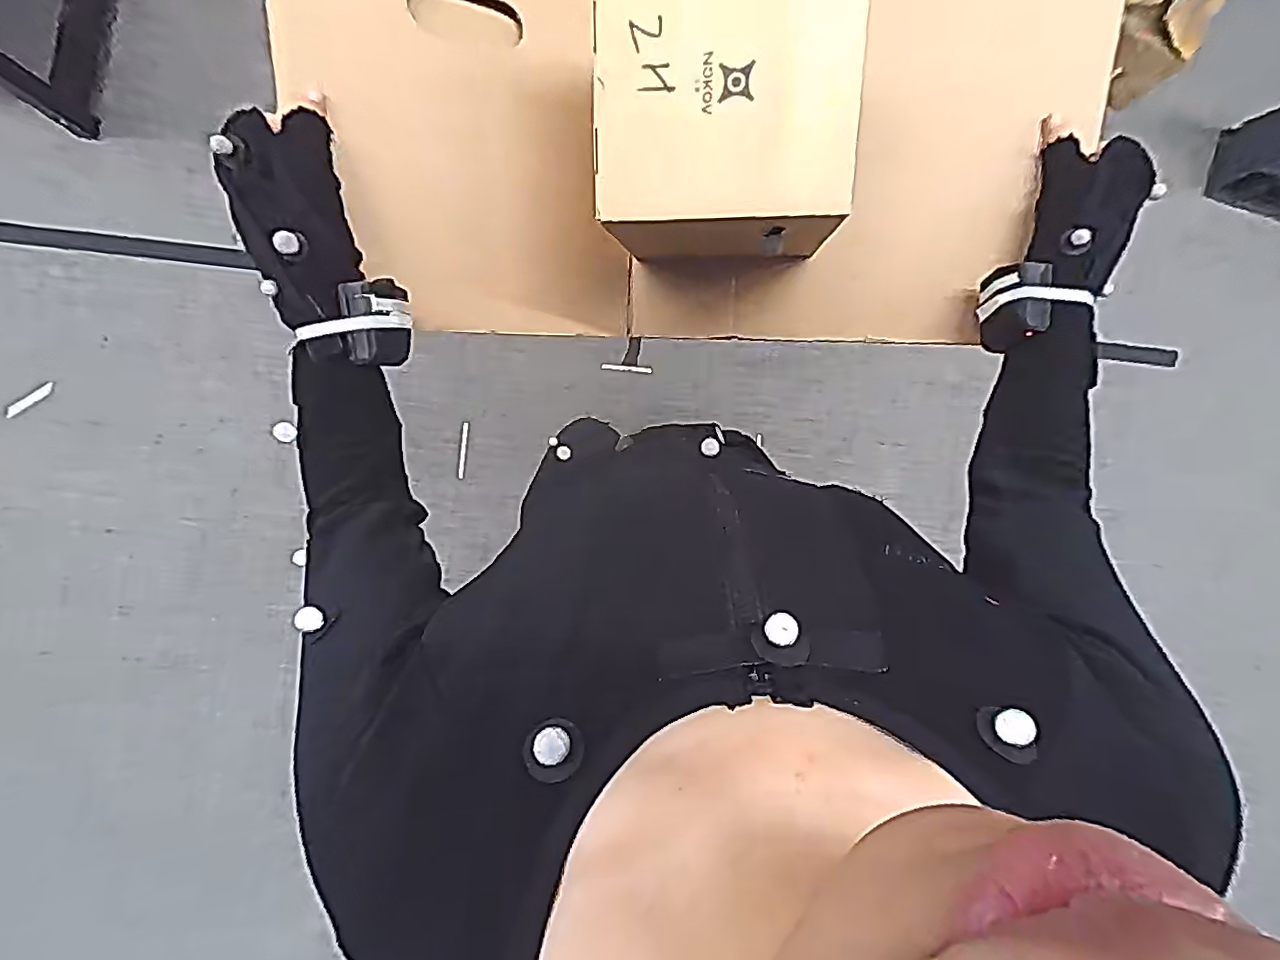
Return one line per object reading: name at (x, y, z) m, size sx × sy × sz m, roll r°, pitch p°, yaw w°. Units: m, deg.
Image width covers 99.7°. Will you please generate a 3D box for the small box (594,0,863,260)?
small box at (0.066, -0.281, 0.440) m, size 0.179 × 0.176 × 0.168 m, roll 3°, pitch 103°, yaw 9°
